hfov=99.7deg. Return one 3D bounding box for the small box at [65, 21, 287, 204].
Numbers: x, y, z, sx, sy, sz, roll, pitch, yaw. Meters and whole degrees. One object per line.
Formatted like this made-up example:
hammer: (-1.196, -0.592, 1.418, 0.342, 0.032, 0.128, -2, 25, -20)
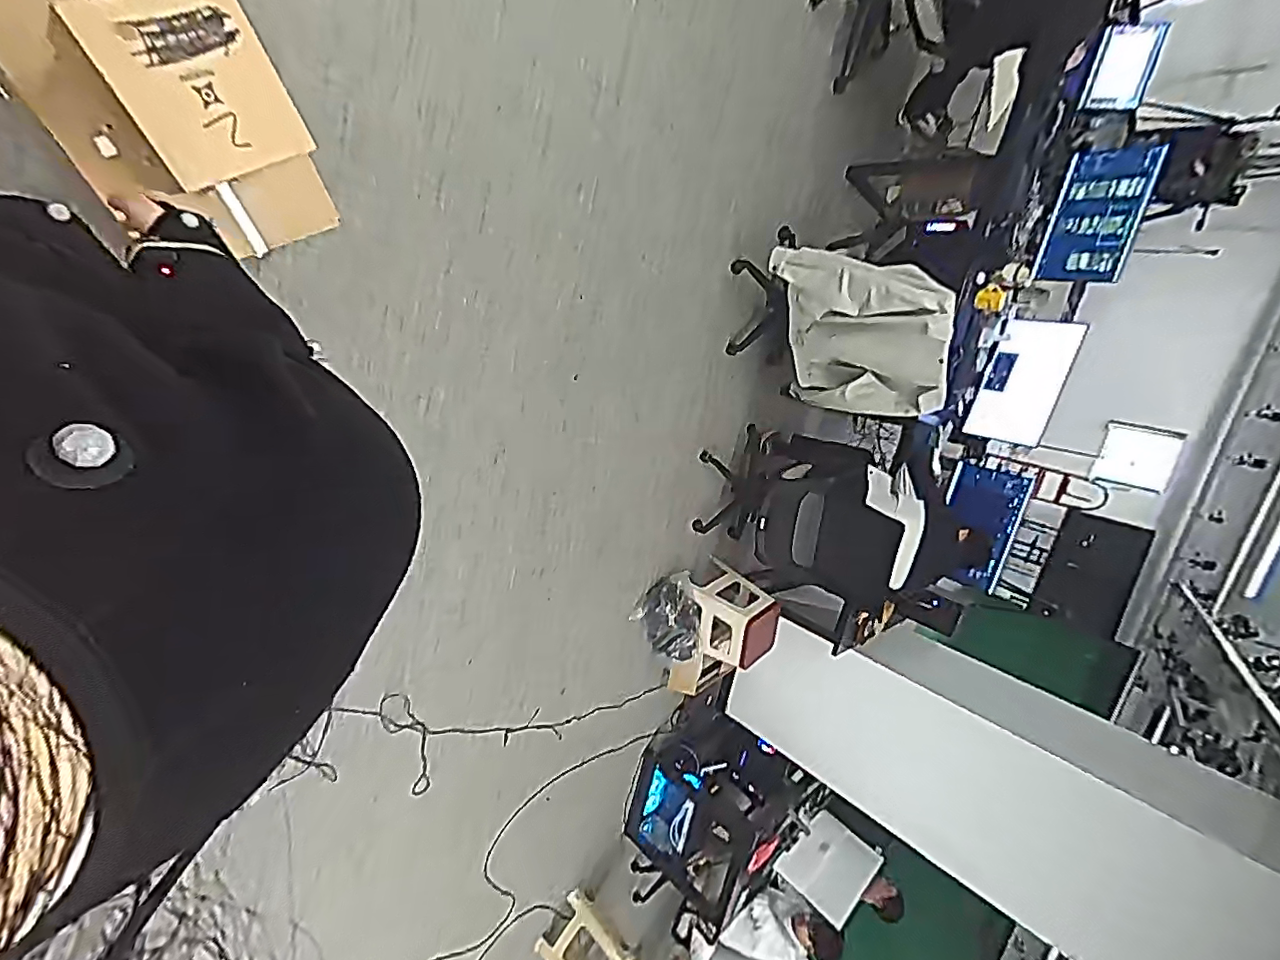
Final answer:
small box: (-0.661, -0.513, 0.773, 0.168, 0.176, 0.179, -42, 135, -26)
